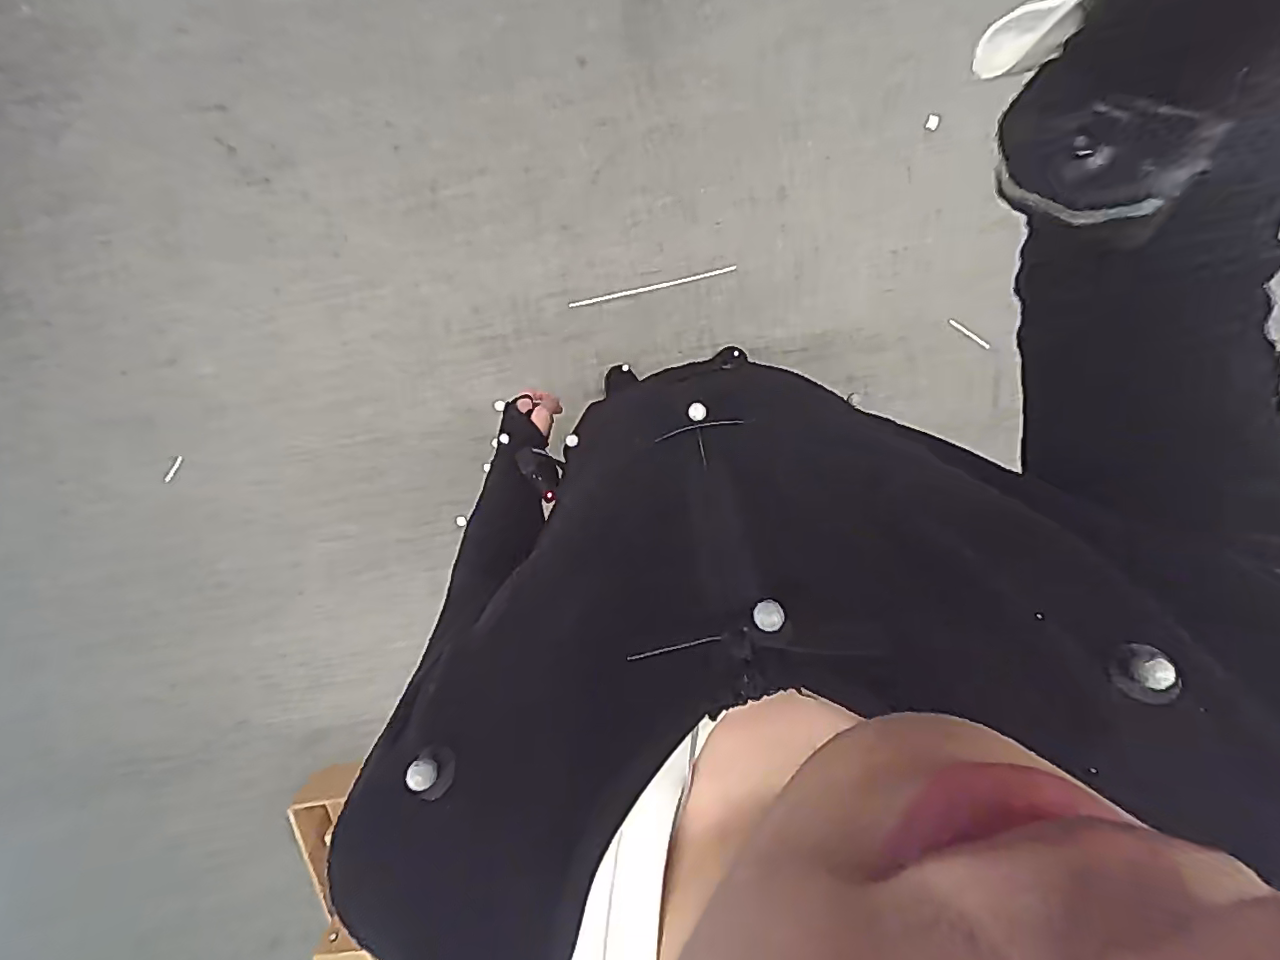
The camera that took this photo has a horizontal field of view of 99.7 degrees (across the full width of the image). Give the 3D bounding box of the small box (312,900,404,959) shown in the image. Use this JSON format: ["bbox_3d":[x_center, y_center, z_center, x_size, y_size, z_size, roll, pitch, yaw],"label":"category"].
[{"bbox_3d":[-0.860,1.440,1.663,0.179,0.176,0.168,-8,101,2],"label":"small box"}]
